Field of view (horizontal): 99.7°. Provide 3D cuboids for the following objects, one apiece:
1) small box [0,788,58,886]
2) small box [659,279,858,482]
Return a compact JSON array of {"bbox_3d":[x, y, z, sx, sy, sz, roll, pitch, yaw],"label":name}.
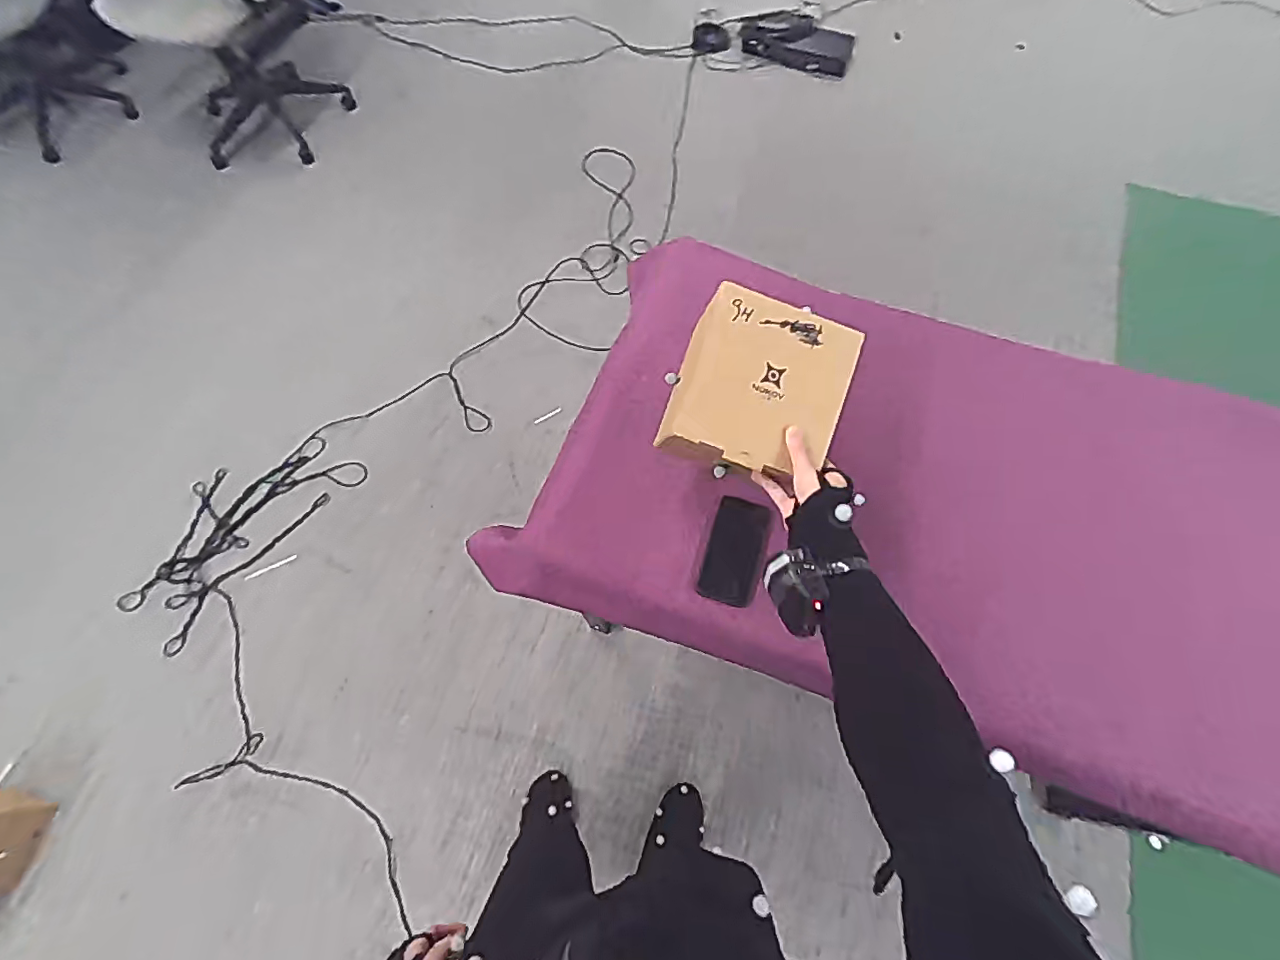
[{"bbox_3d":[-1.467,0.790,1.182,0.179,0.176,0.168,11,66,7],"label":"small box"},{"bbox_3d":[0.128,-0.104,0.656,0.168,0.176,0.179,20,86,-3],"label":"small box"}]
